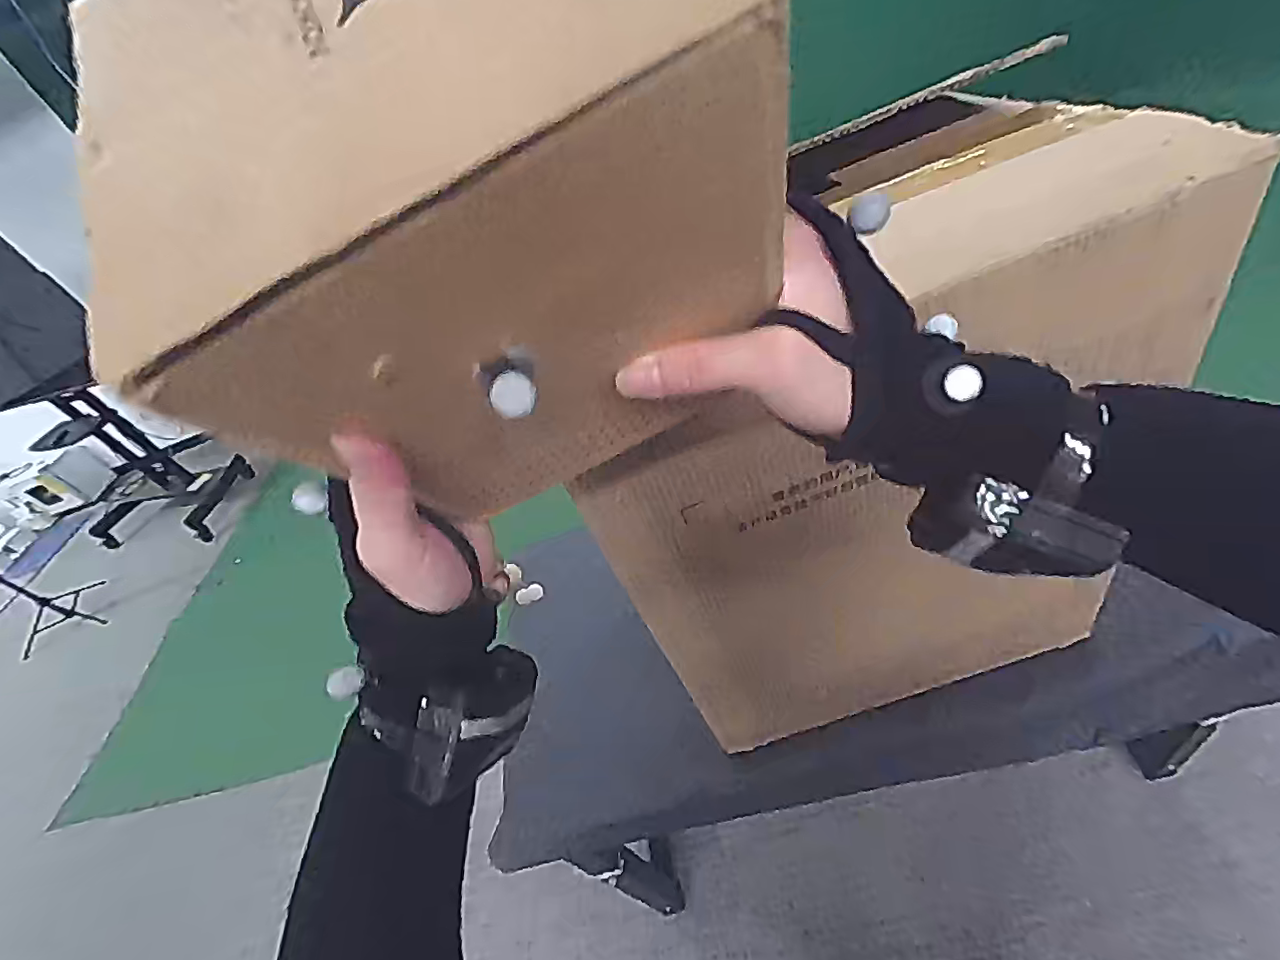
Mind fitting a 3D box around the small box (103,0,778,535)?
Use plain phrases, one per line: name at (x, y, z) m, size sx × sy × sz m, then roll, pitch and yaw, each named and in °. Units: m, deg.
small box at (-0.056, -0.094, 0.222) m, size 0.179 × 0.176 × 0.168 m, roll -27°, pitch 70°, yaw 5°
